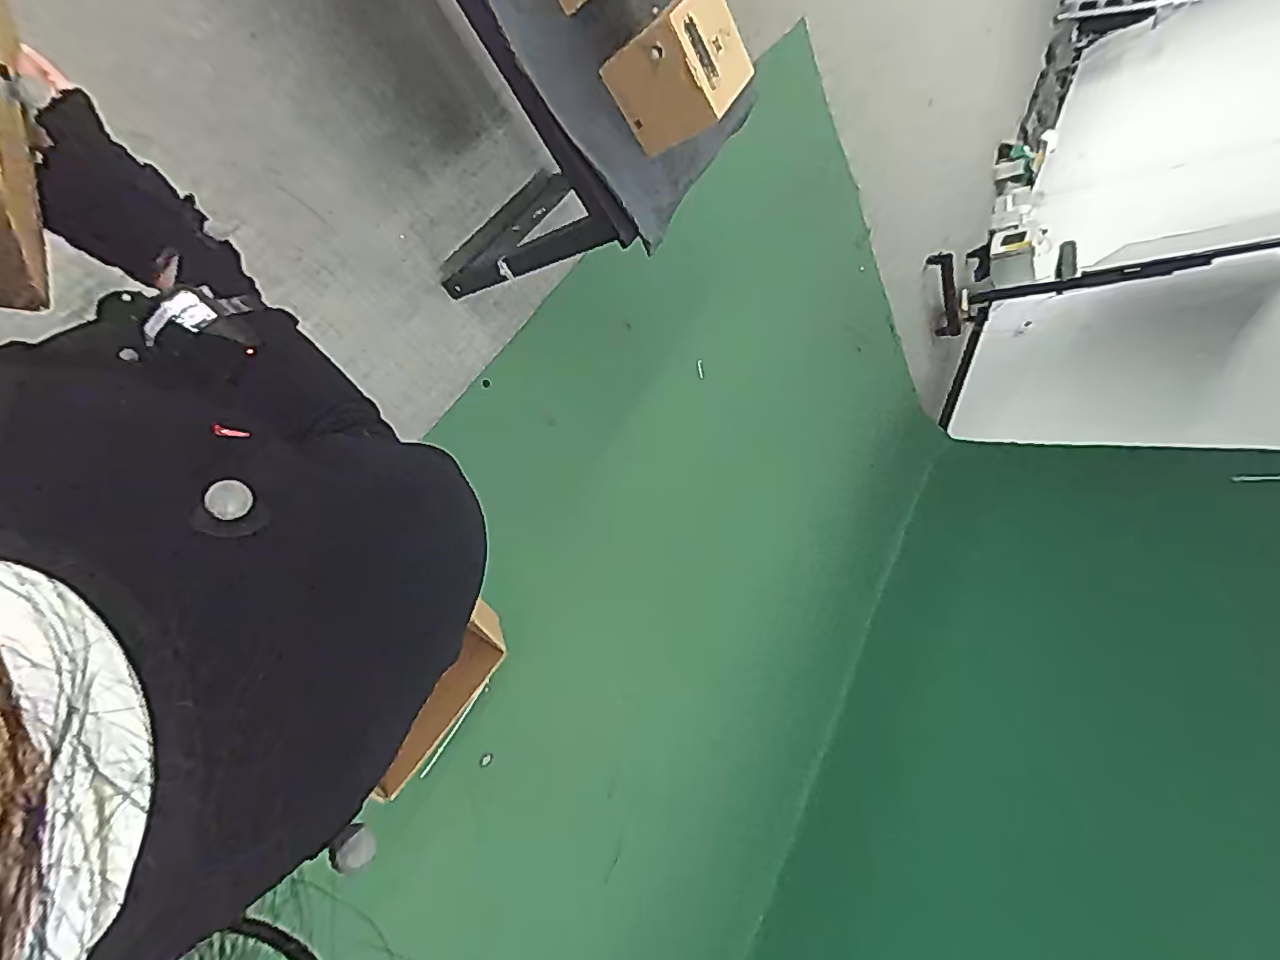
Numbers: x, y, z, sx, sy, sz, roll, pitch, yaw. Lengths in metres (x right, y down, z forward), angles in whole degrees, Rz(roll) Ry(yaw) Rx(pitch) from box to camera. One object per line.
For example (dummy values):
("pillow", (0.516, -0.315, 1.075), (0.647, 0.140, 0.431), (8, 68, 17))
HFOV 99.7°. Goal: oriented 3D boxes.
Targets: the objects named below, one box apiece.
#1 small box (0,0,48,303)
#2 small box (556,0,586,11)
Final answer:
("small box", (-0.439, -0.217, 0.278), (0.168, 0.176, 0.179), (-5, 84, -43))
("small box", (-0.066, -0.875, 0.820), (0.168, 0.176, 0.179), (49, 61, -35))
